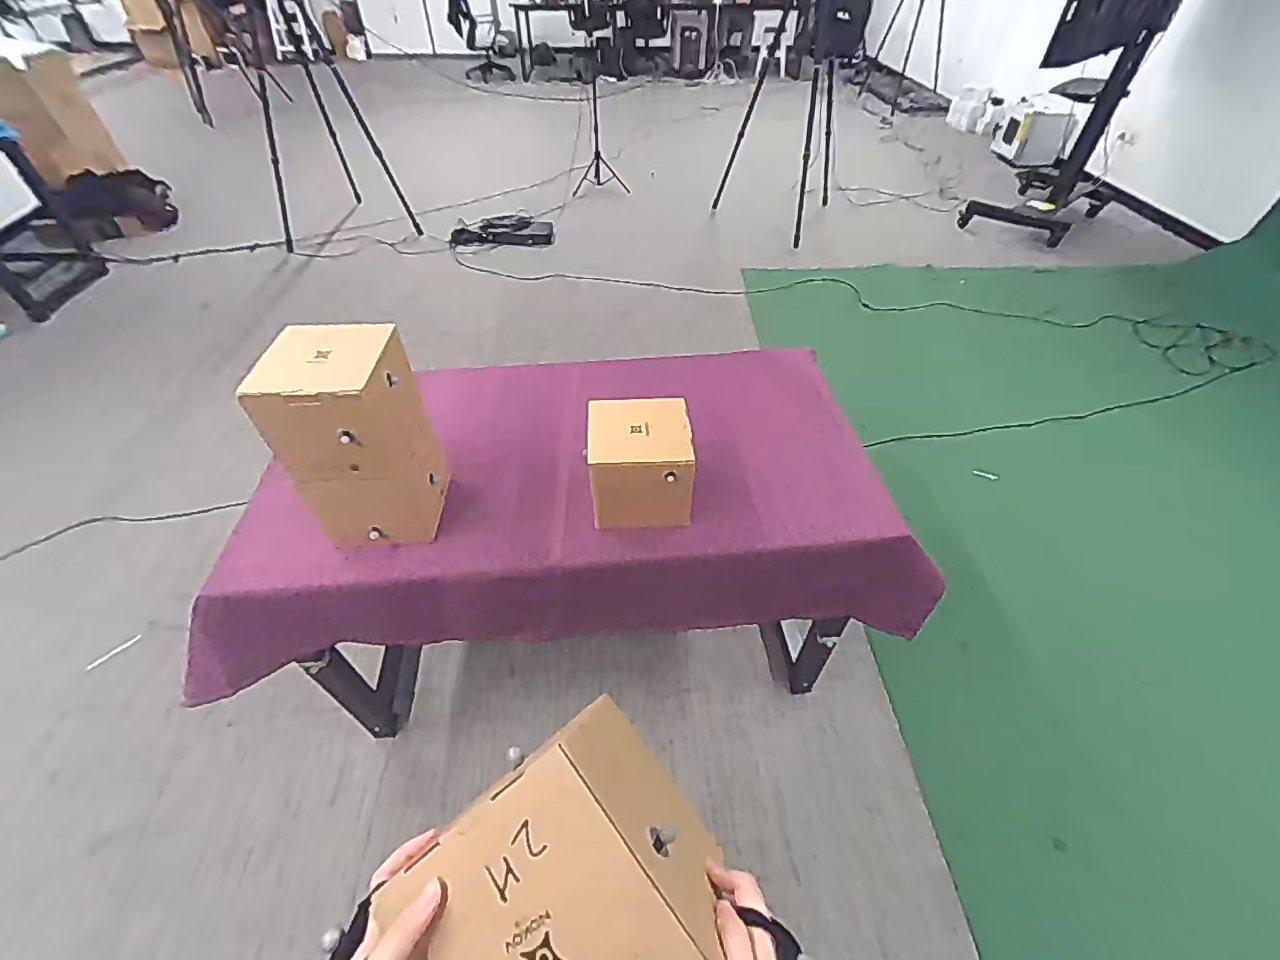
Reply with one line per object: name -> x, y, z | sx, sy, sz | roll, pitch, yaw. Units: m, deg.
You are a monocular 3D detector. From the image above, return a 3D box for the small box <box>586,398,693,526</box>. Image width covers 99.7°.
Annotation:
small box -> -0.002, -0.030, 0.973 | 0.179, 0.176, 0.168 | -2, 46, -2

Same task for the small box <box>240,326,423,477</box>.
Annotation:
small box -> -0.453, -0.116, 0.832 | 0.168, 0.176, 0.179 | -2, 46, -1

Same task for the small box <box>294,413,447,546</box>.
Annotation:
small box -> -0.453, 0.001, 0.947 | 0.179, 0.176, 0.168 | -3, 46, -3
